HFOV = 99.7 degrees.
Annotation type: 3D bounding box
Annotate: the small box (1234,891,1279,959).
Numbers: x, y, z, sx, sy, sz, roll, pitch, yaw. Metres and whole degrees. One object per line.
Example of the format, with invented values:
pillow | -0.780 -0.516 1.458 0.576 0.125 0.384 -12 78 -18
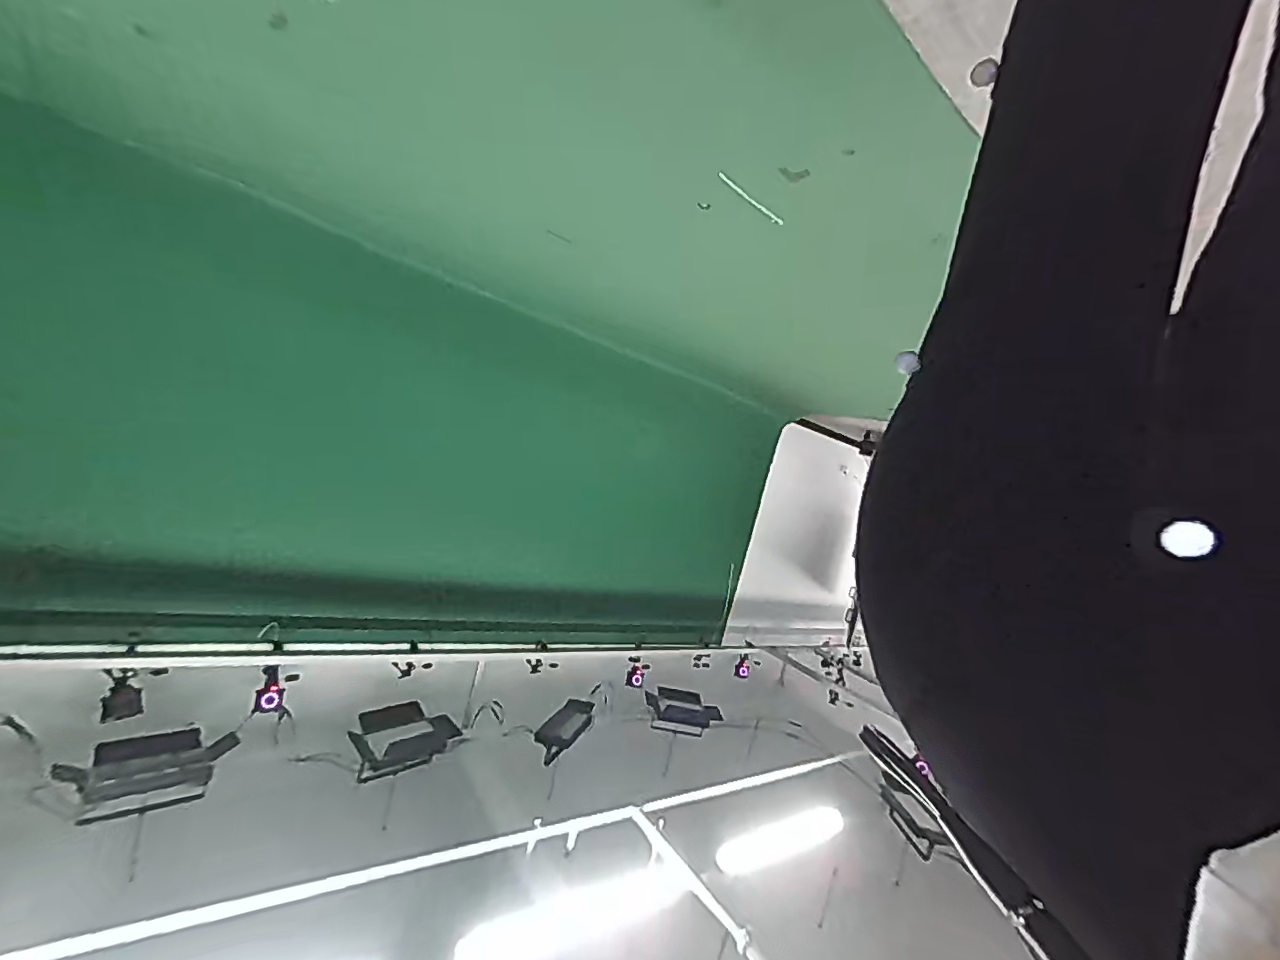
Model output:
small box | 1.772 1.255 1.477 0.179 0.176 0.168 11 -176 -37
